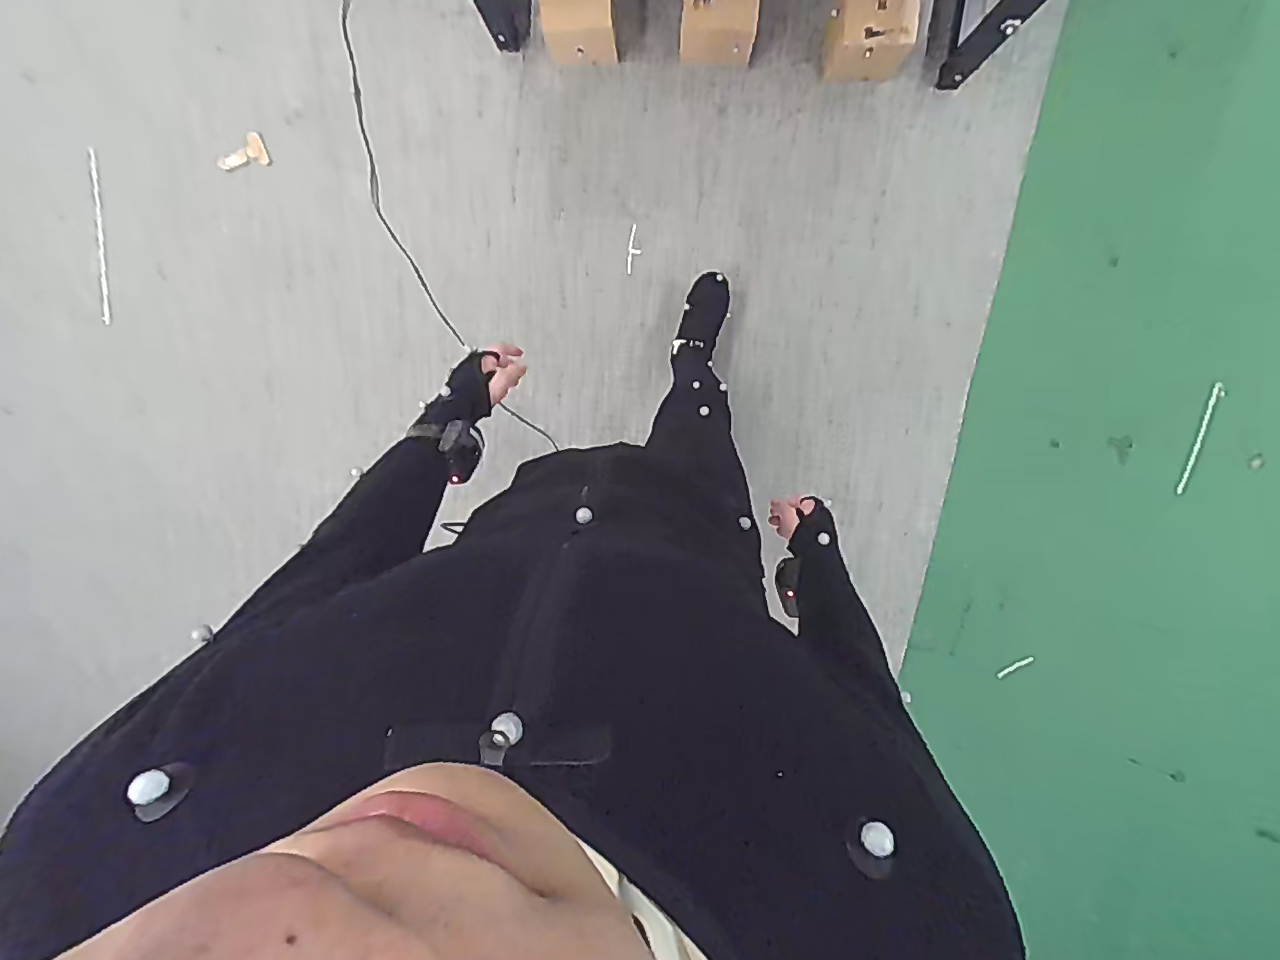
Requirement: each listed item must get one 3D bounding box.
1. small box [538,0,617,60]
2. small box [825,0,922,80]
[{"bbox_3d":[-0.146,-1.139,1.290,0.168,0.176,0.179,-1,101,3],"label":"small box"},{"bbox_3d":[0.543,-1.084,1.271,0.168,0.176,0.179,1,101,2],"label":"small box"}]
